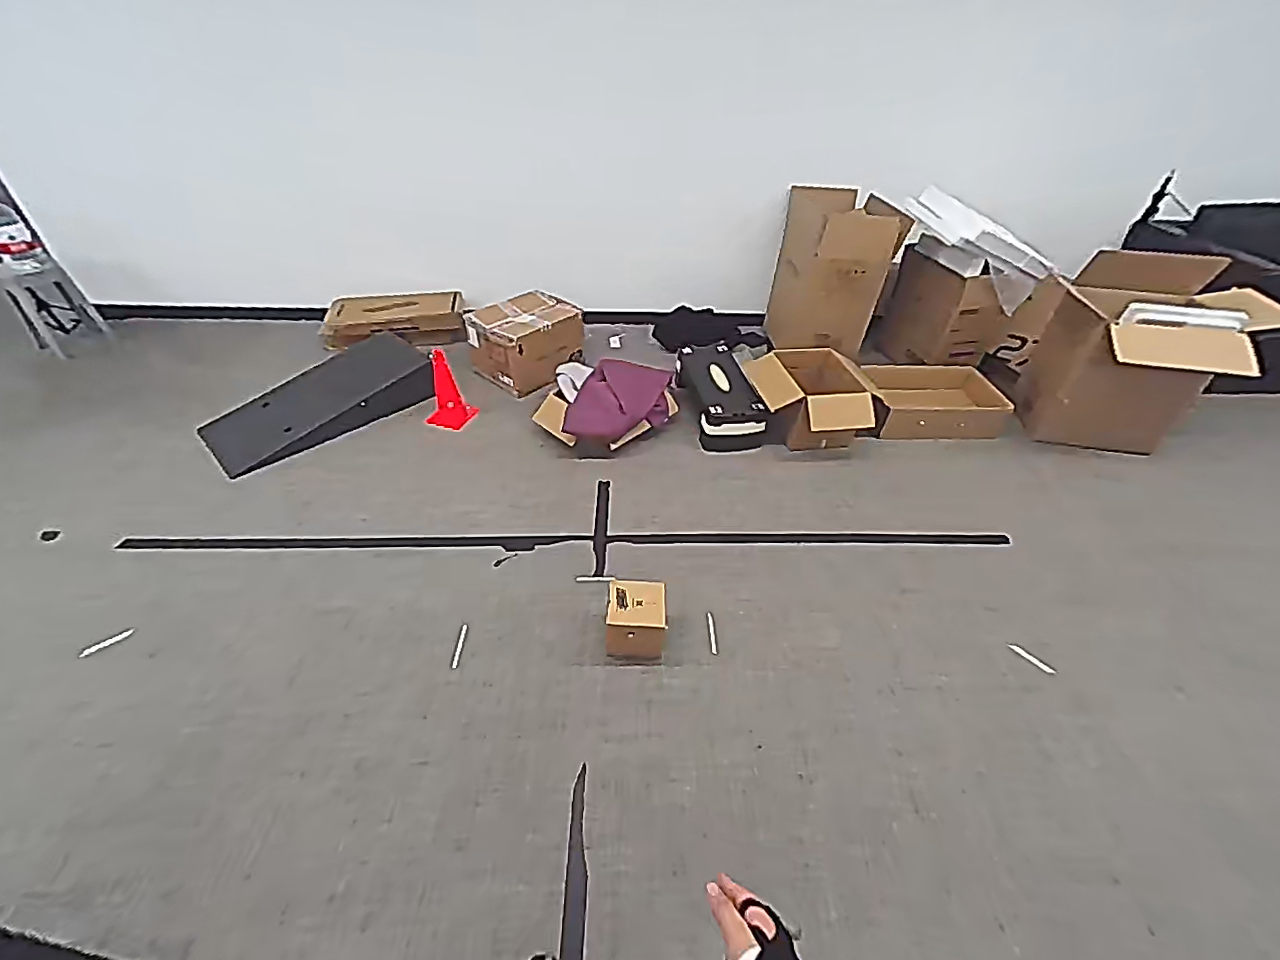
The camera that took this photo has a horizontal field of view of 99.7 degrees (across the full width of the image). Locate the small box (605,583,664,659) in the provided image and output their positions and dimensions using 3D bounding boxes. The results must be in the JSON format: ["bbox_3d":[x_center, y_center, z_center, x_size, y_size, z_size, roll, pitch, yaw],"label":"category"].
[{"bbox_3d":[-0.016,0.444,1.691,0.179,0.176,0.168,3,41,-1],"label":"small box"}]
